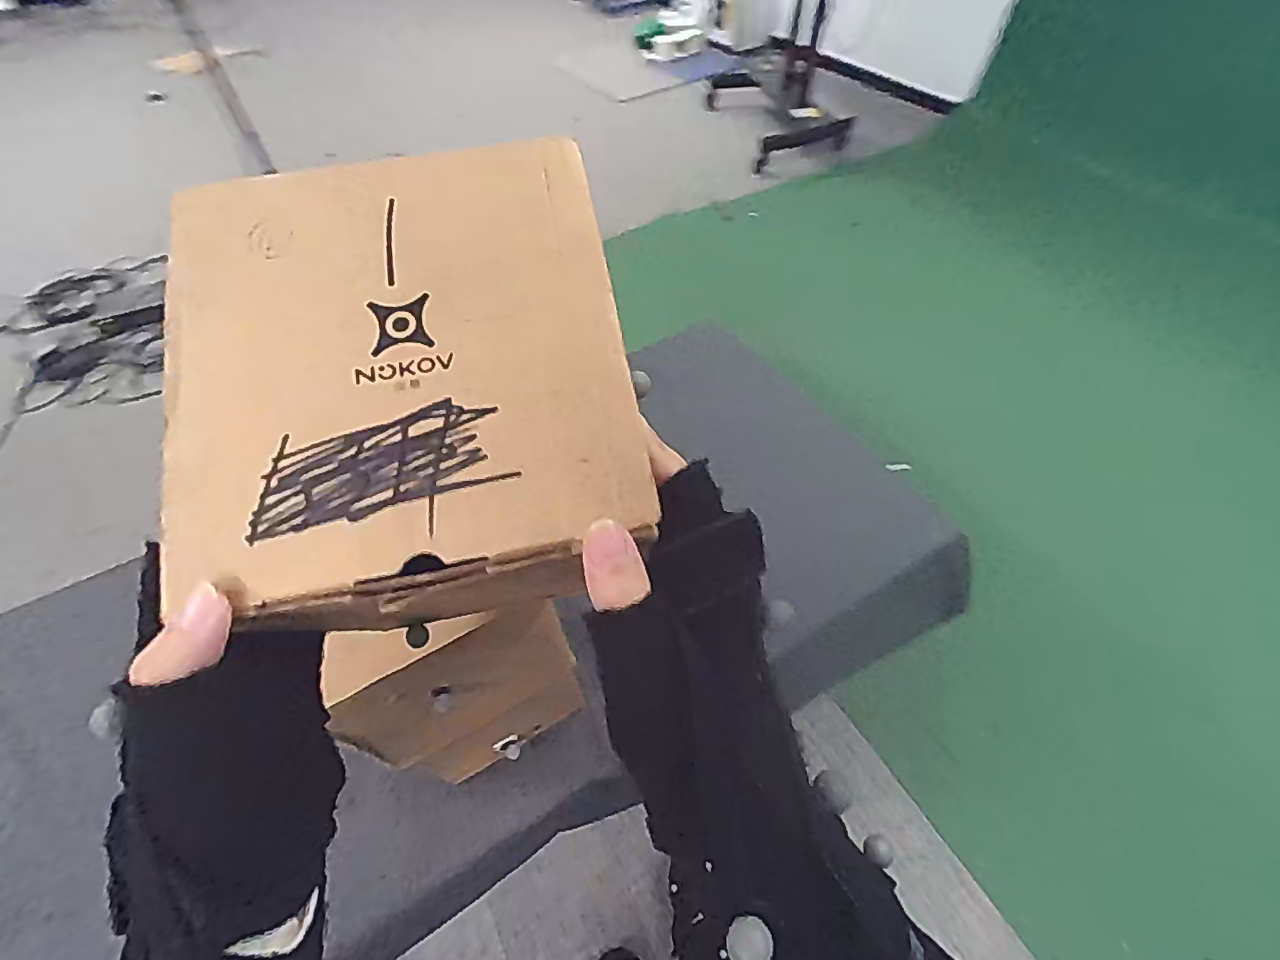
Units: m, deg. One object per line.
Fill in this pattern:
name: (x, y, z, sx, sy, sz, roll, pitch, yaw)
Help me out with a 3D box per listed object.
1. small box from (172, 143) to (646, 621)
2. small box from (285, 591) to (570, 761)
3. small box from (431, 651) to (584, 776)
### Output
small box: (-0.090, -0.028, 0.283, 0.168, 0.176, 0.179, -10, 74, -4)
small box: (-0.182, 0.113, 0.482, 0.179, 0.176, 0.168, -28, 53, -19)
small box: (-0.181, 0.202, 0.618, 0.168, 0.176, 0.179, -30, 57, -17)
